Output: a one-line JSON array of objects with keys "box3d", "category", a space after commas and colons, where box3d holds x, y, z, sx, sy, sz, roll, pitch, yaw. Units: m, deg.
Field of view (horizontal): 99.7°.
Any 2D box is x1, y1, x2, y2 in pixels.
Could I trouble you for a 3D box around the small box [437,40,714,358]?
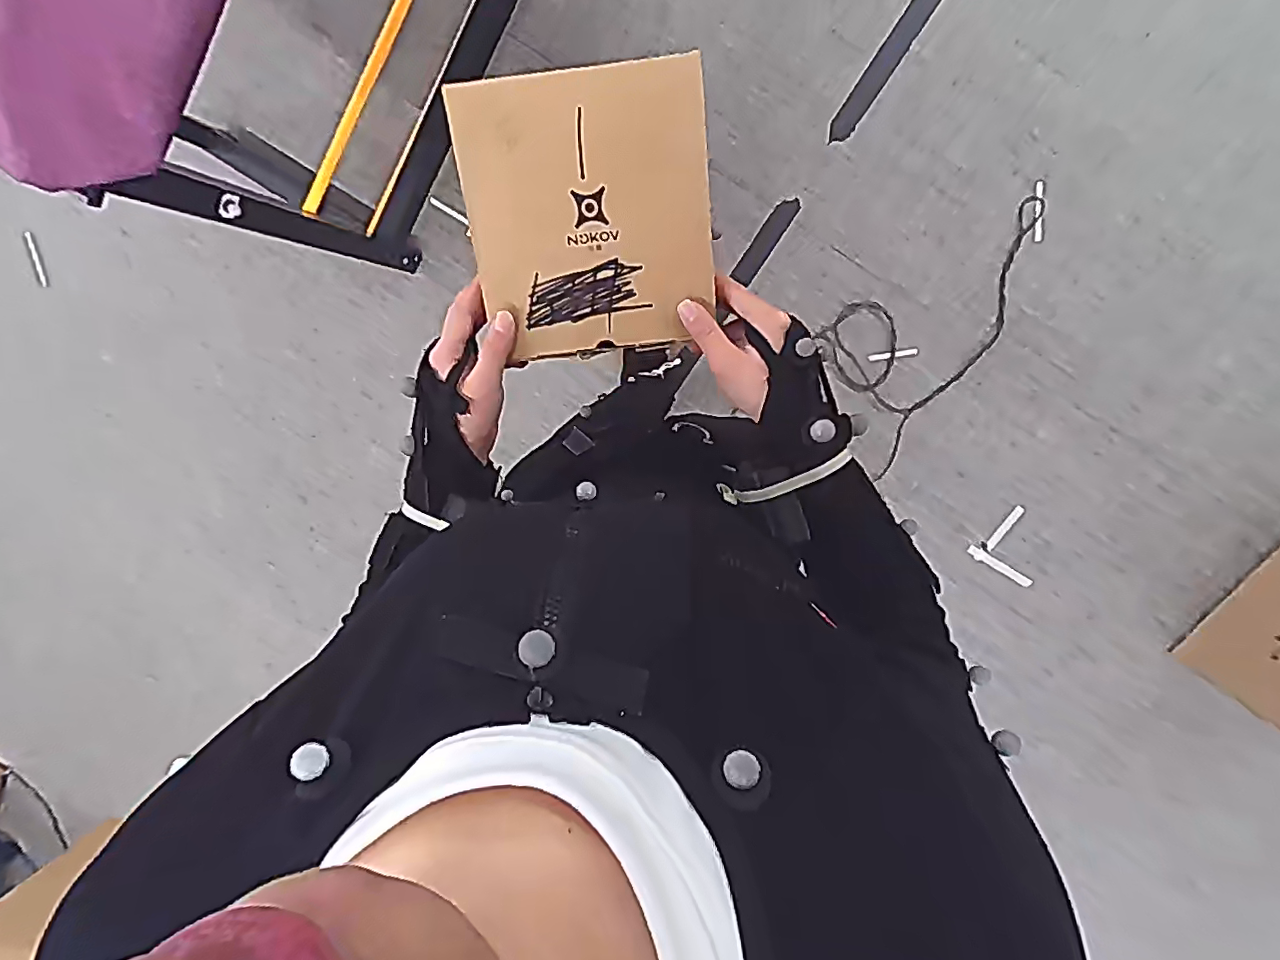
[{"box3d": [-0.035, -0.203, 0.429, 0.168, 0.176, 0.179, -6, 110, 2], "category": "small box"}]
